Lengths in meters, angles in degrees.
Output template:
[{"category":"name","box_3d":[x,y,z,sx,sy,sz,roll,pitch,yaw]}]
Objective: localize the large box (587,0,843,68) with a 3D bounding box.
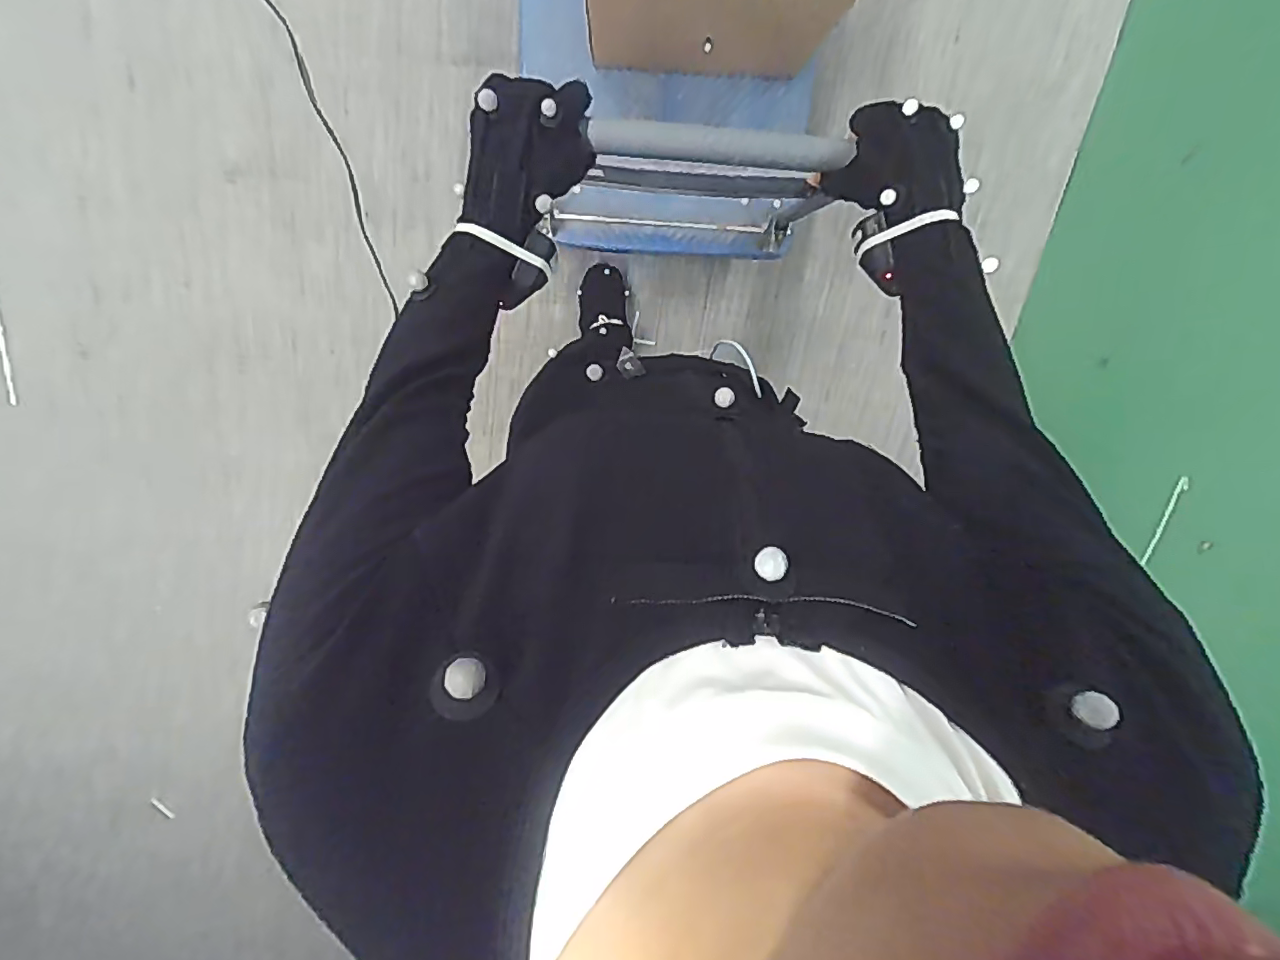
[{"category":"large box","box_3d":[0.117,-0.914,0.880,0.408,0.320,0.320,1,107,-2]}]
